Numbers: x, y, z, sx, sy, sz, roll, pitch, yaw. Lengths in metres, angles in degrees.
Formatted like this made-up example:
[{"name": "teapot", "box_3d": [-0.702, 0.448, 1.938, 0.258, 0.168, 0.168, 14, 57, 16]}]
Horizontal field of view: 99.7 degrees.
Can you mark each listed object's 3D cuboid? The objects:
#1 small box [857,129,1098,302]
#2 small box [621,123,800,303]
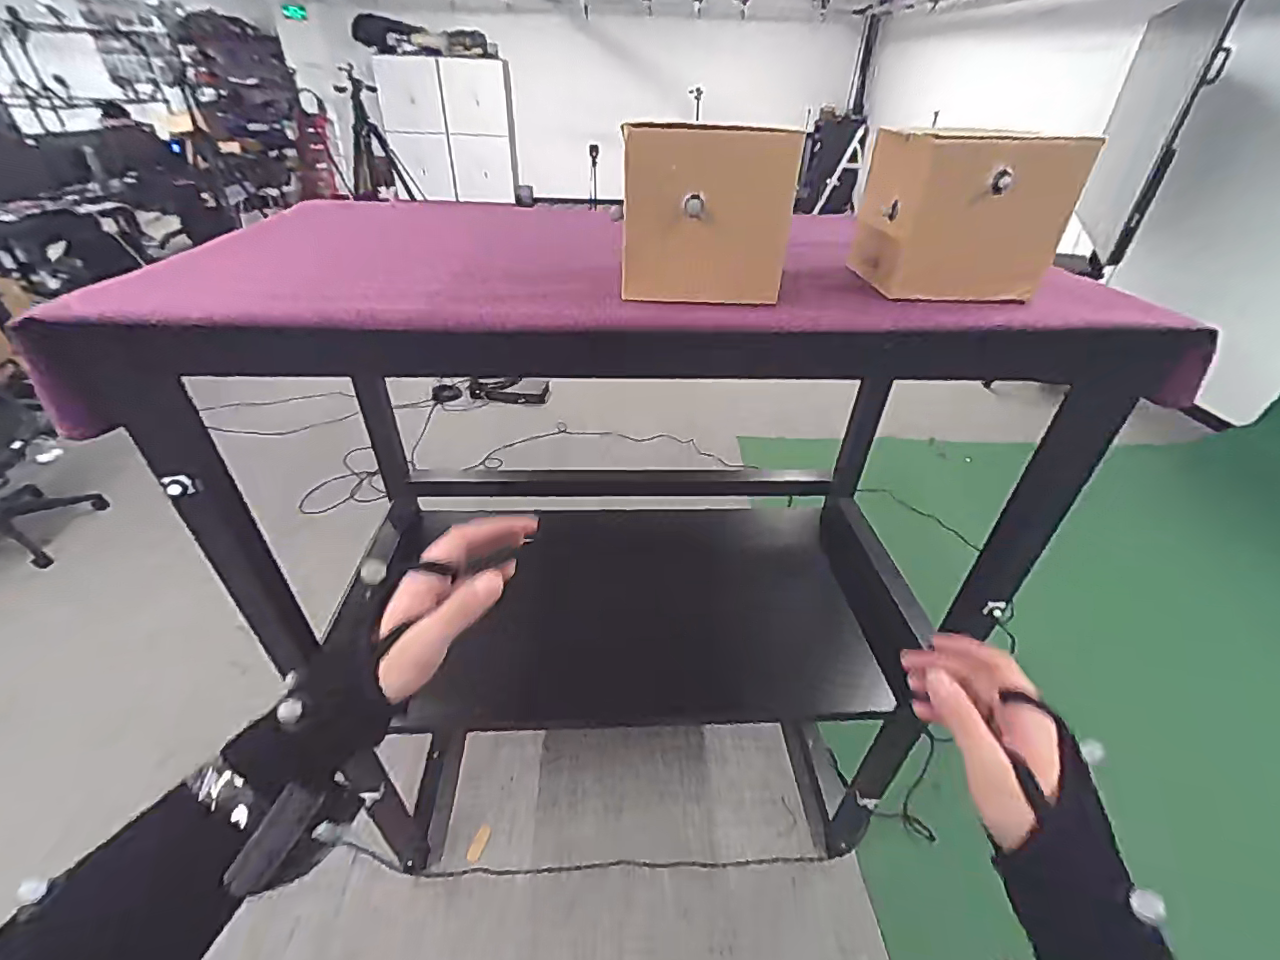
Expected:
[{"name": "small box", "box_3d": [0.378, -0.322, 0.654, 0.179, 0.176, 0.168, 1, 35, 1]}, {"name": "small box", "box_3d": [0.070, -0.312, 0.630, 0.179, 0.176, 0.168, 0, 36, 0]}]
